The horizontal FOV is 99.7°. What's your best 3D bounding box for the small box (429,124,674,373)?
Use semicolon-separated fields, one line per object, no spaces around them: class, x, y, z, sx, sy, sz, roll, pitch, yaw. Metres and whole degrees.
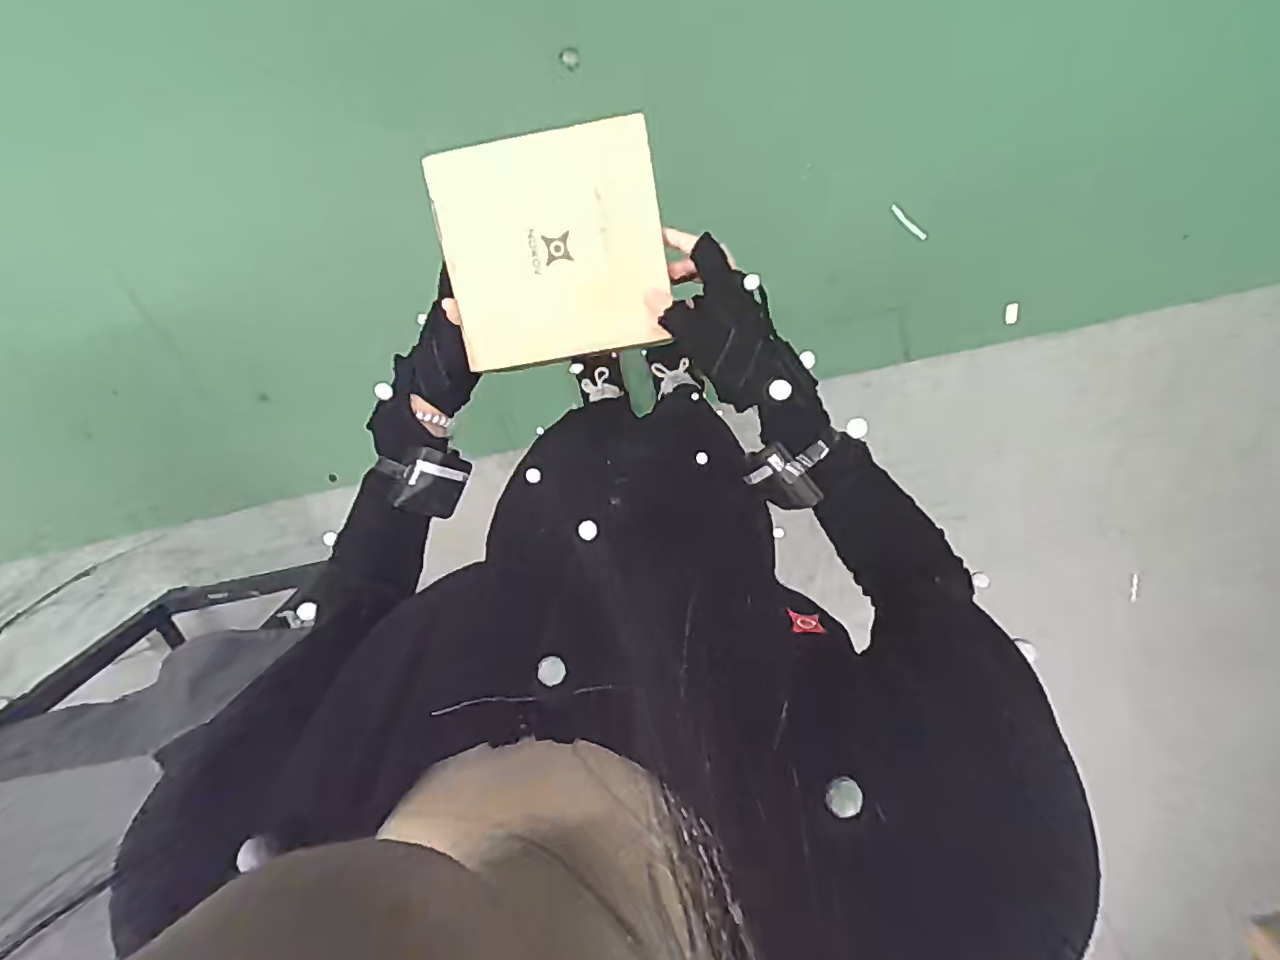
small box;-0.064;-0.193;0.504;0.179;0.176;0.168;-8;102;5
